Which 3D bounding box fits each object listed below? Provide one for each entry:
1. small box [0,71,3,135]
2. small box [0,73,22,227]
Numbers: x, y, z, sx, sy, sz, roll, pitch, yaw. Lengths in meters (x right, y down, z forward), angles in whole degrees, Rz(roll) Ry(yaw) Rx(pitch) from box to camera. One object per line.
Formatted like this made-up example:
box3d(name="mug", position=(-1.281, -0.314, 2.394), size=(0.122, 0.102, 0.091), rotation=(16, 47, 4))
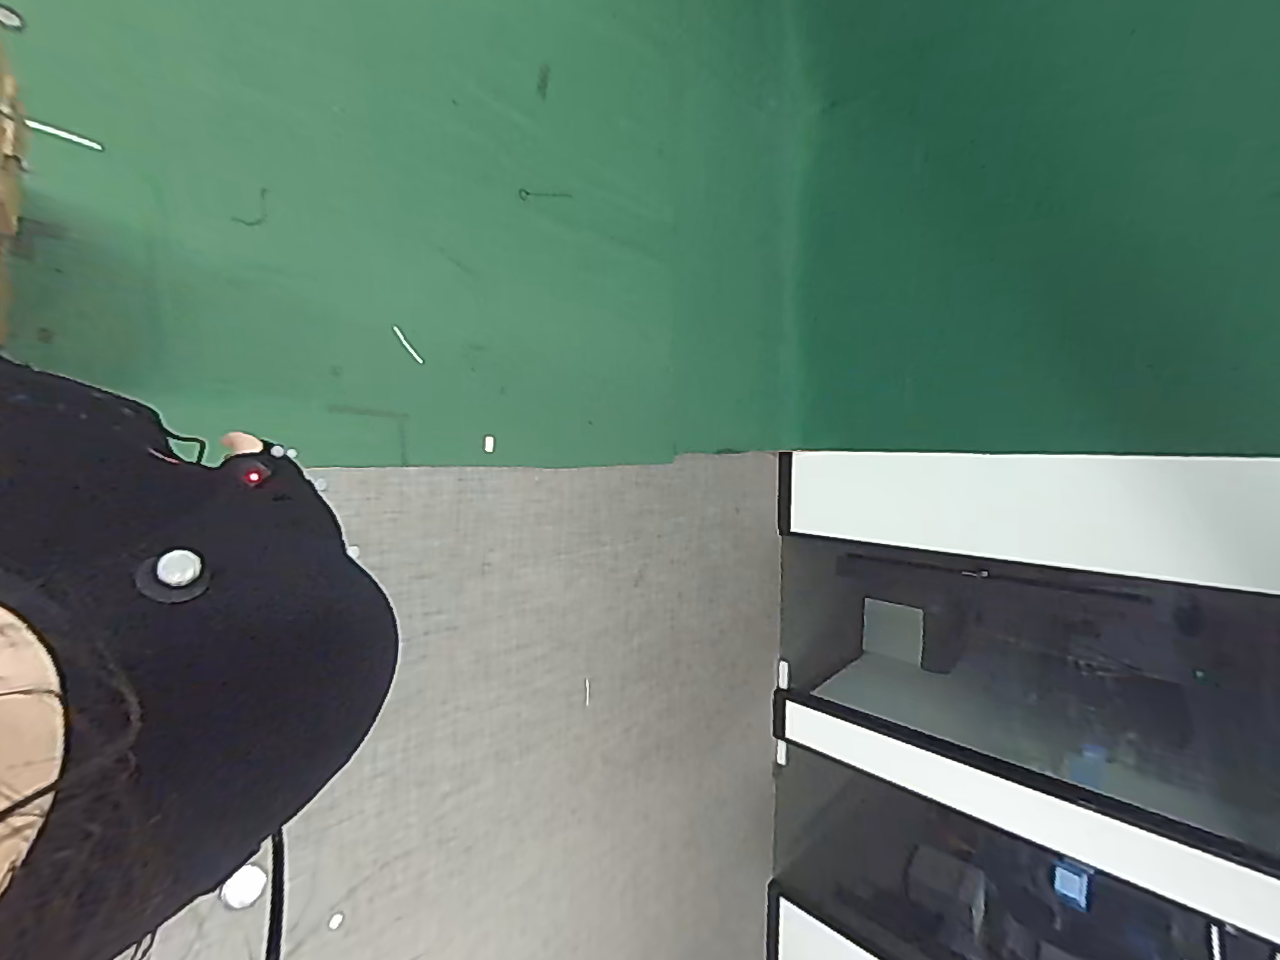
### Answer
box3d(name="small box", position=(-0.790, -0.428, 0.552), size=(0.168, 0.176, 0.179), rotation=(3, 91, -45))
box3d(name="small box", position=(-0.909, -0.435, 0.669), size=(0.179, 0.176, 0.168), rotation=(6, 88, -45))
